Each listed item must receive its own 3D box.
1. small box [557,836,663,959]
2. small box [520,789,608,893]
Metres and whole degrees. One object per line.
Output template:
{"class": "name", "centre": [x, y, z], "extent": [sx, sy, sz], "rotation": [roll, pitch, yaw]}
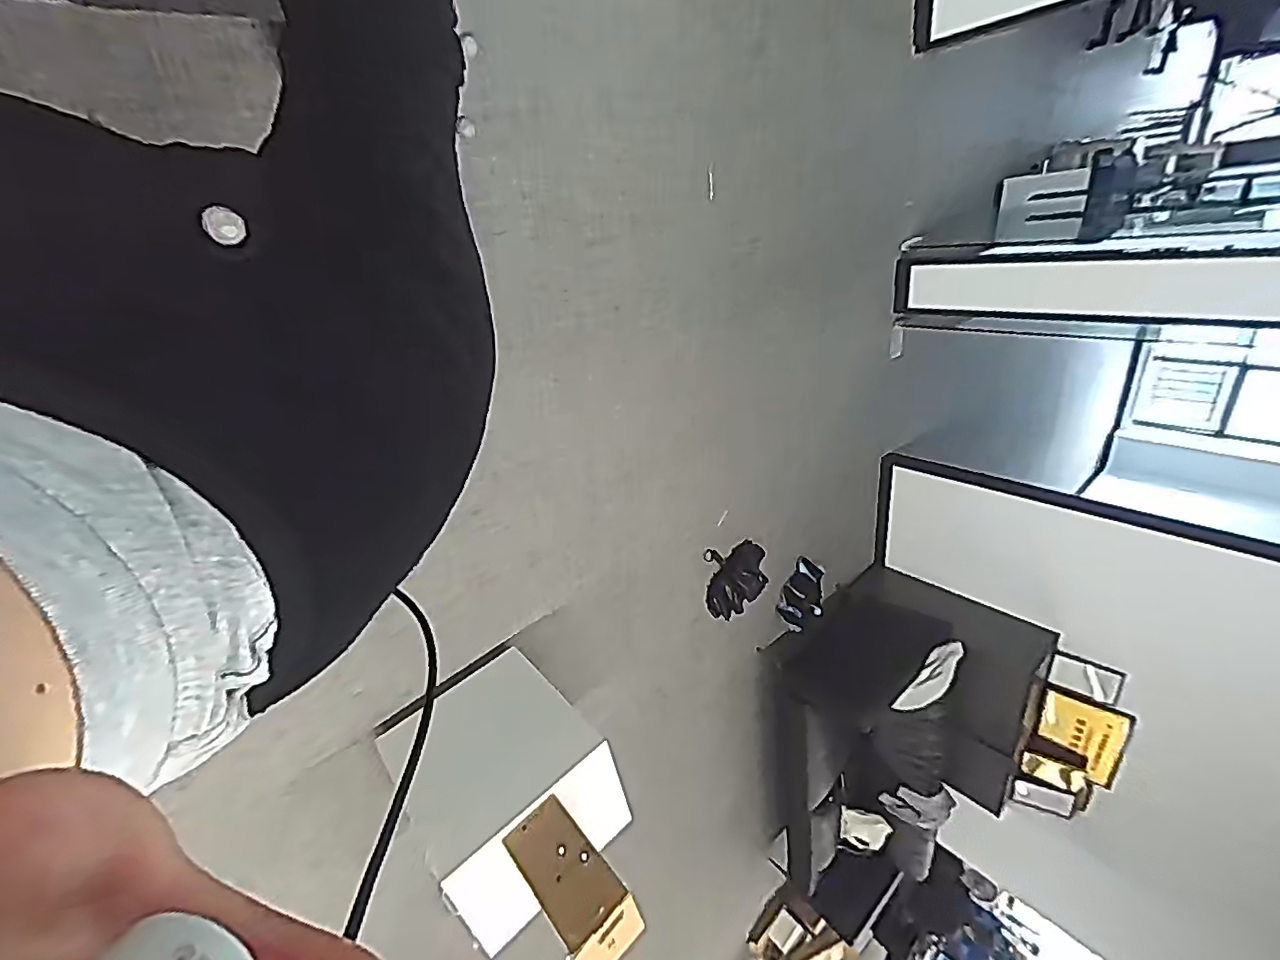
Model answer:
{"class": "small box", "centre": [-0.074, 0.995, 1.284], "extent": [0.168, 0.176, 0.179], "rotation": [-34, 127, -29]}
{"class": "small box", "centre": [-0.182, 0.950, 1.401], "extent": [0.168, 0.176, 0.179], "rotation": [-35, 127, -29]}
